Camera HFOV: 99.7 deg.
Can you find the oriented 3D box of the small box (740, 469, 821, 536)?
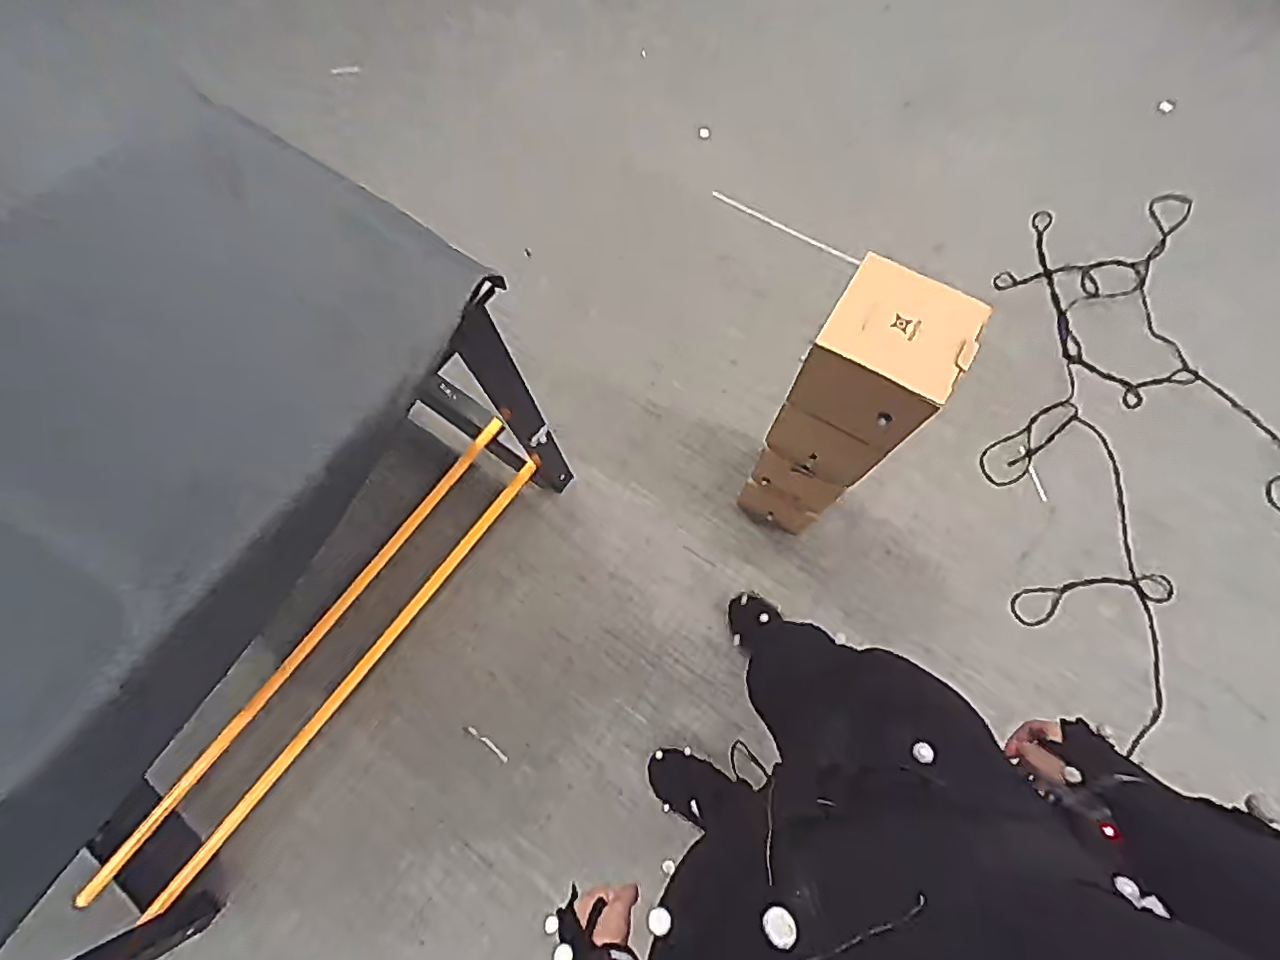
[{"bbox_3d":[0.341,0.004,1.230,0.168,0.176,0.179,28,75,12],"label":"small box"}]

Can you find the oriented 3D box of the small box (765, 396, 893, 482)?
[{"bbox_3d":[0.339,-0.114,0.924,0.179,0.176,0.168,30,75,10],"label":"small box"}]

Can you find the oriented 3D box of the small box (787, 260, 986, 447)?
[{"bbox_3d":[0.337,-0.167,0.770,0.179,0.176,0.168,29,74,12],"label":"small box"}]

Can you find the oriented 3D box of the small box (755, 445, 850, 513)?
[{"bbox_3d":[0.343,-0.058,1.078,0.168,0.176,0.179,29,74,11],"label":"small box"}]
